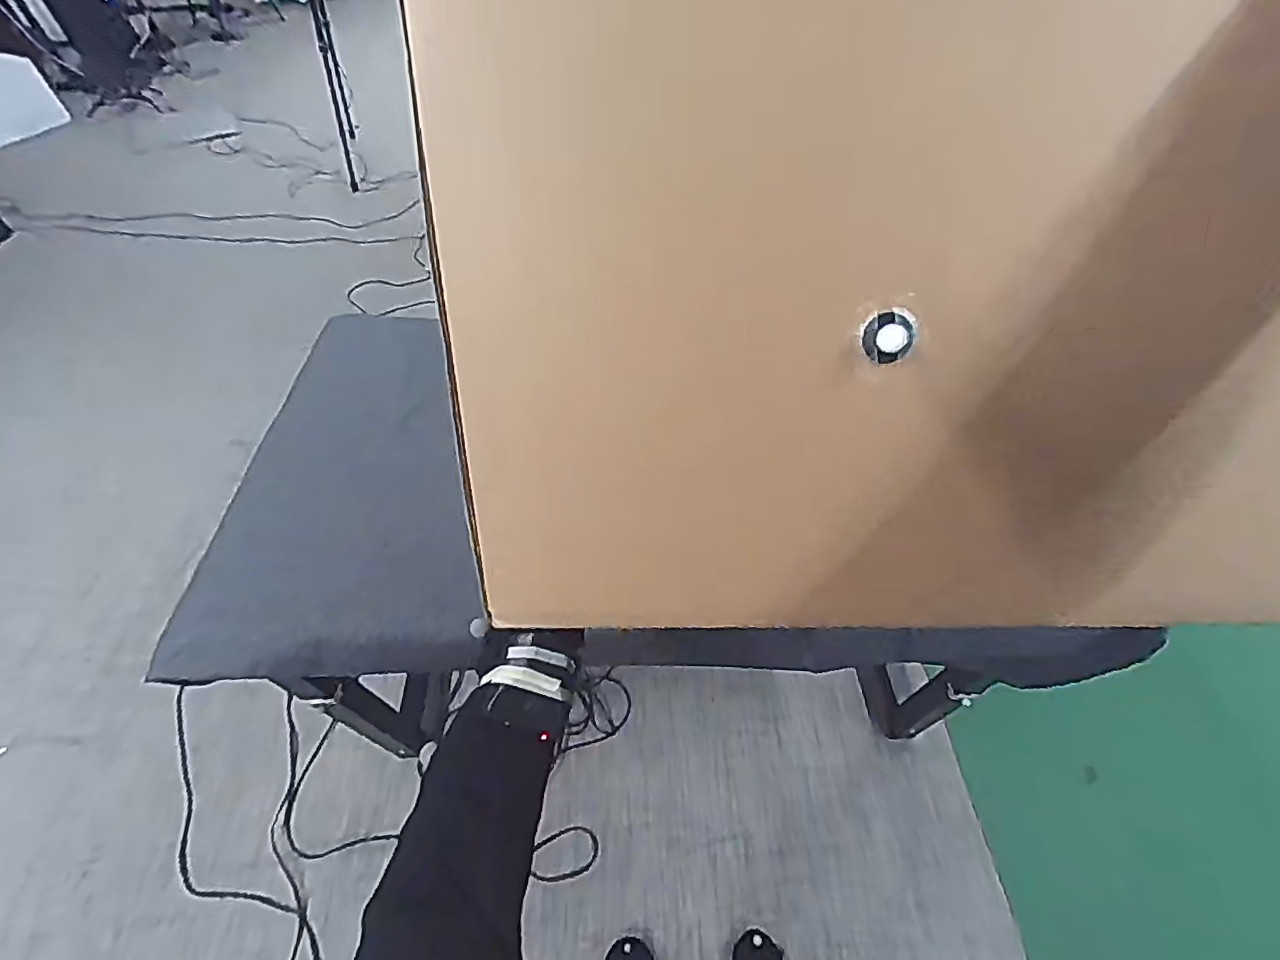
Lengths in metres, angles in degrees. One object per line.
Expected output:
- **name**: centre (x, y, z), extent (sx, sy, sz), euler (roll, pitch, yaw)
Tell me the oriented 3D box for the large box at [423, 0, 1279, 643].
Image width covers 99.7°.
- **large box**: centre (0.126, -0.101, 0.397), extent (0.408, 0.320, 0.320), euler (-4, 13, 6)
